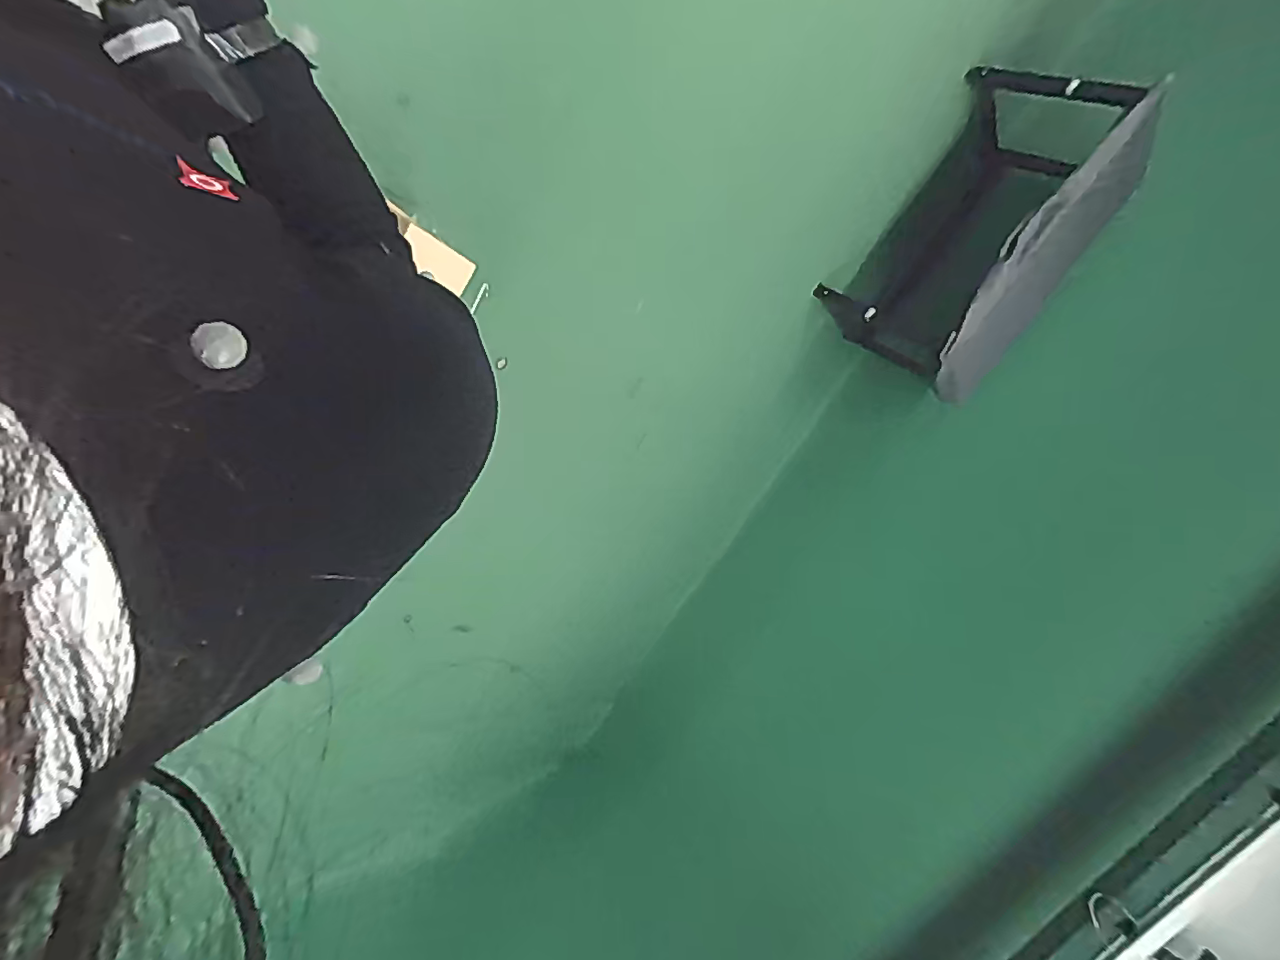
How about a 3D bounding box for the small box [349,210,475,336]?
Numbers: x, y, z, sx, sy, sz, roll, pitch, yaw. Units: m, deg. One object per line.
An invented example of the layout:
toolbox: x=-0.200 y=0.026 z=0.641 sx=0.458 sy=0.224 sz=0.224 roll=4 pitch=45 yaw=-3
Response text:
small box: x=-0.502 y=-0.453 z=1.179 sx=0.179 sy=0.176 sz=0.168 roll=-55 pitch=145 yaw=10
